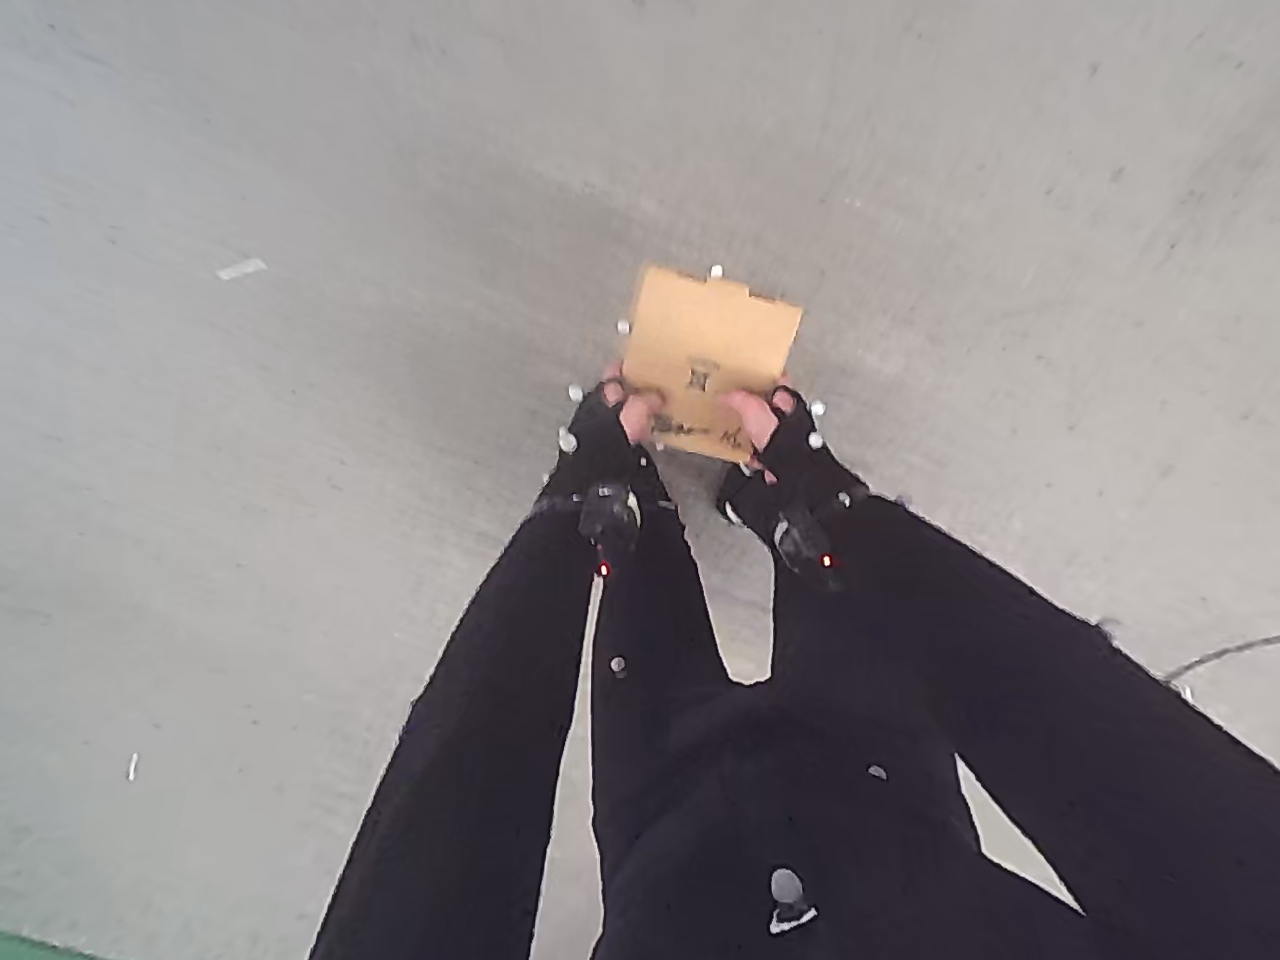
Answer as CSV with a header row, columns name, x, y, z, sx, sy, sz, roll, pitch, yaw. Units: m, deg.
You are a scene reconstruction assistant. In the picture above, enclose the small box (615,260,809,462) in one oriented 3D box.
name,x,y,z,sx,sy,sz,roll,pitch,yaw
small box,0.068,-0.144,0.635,0.168,0.176,0.179,14,110,-7
